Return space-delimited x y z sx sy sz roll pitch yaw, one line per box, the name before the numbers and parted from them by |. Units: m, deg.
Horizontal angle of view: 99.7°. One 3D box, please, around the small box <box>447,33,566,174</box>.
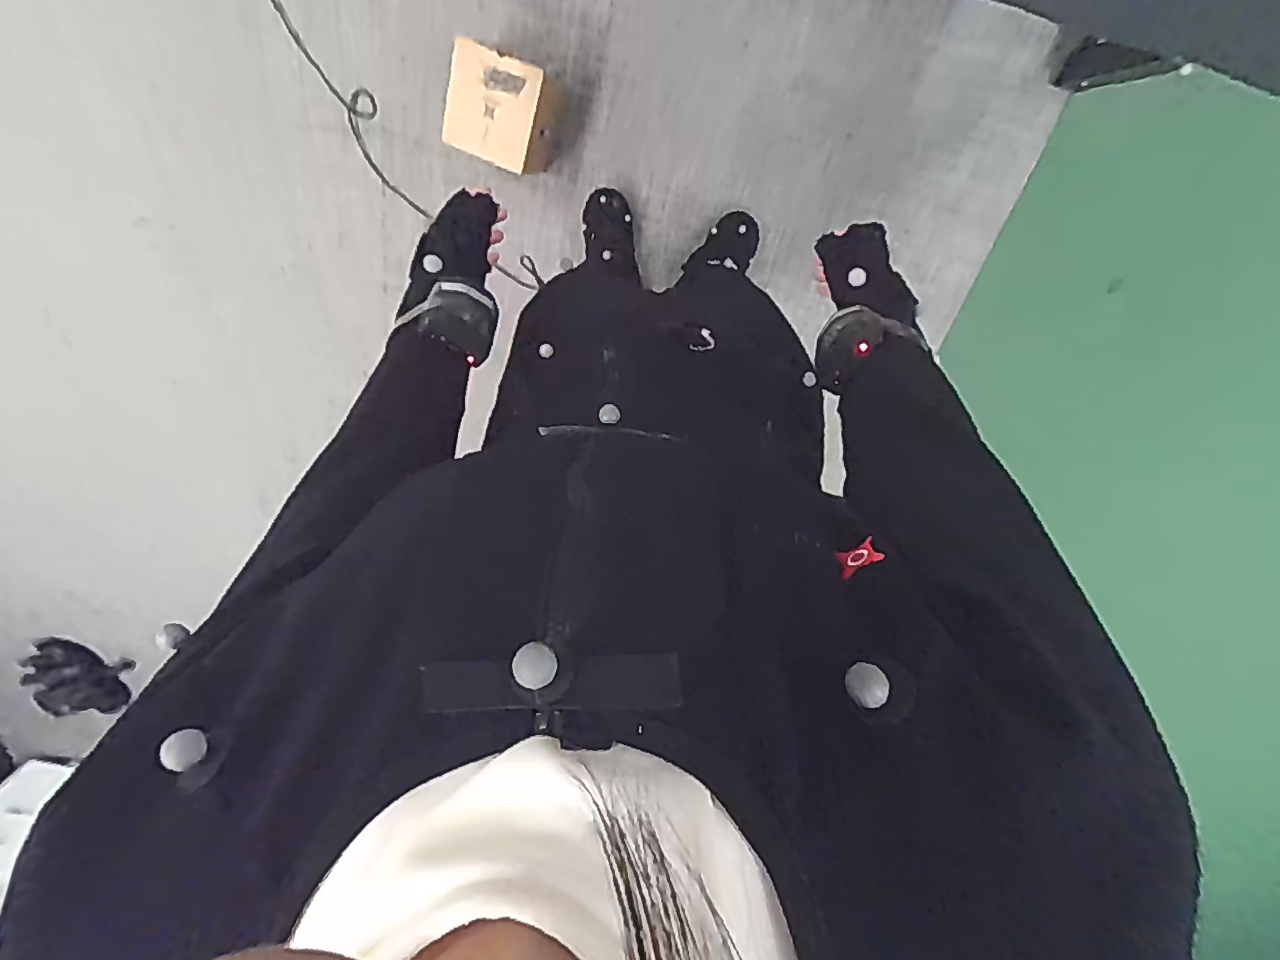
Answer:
small box | -0.255 -0.730 1.066 0.168 0.176 0.179 21 122 -5
